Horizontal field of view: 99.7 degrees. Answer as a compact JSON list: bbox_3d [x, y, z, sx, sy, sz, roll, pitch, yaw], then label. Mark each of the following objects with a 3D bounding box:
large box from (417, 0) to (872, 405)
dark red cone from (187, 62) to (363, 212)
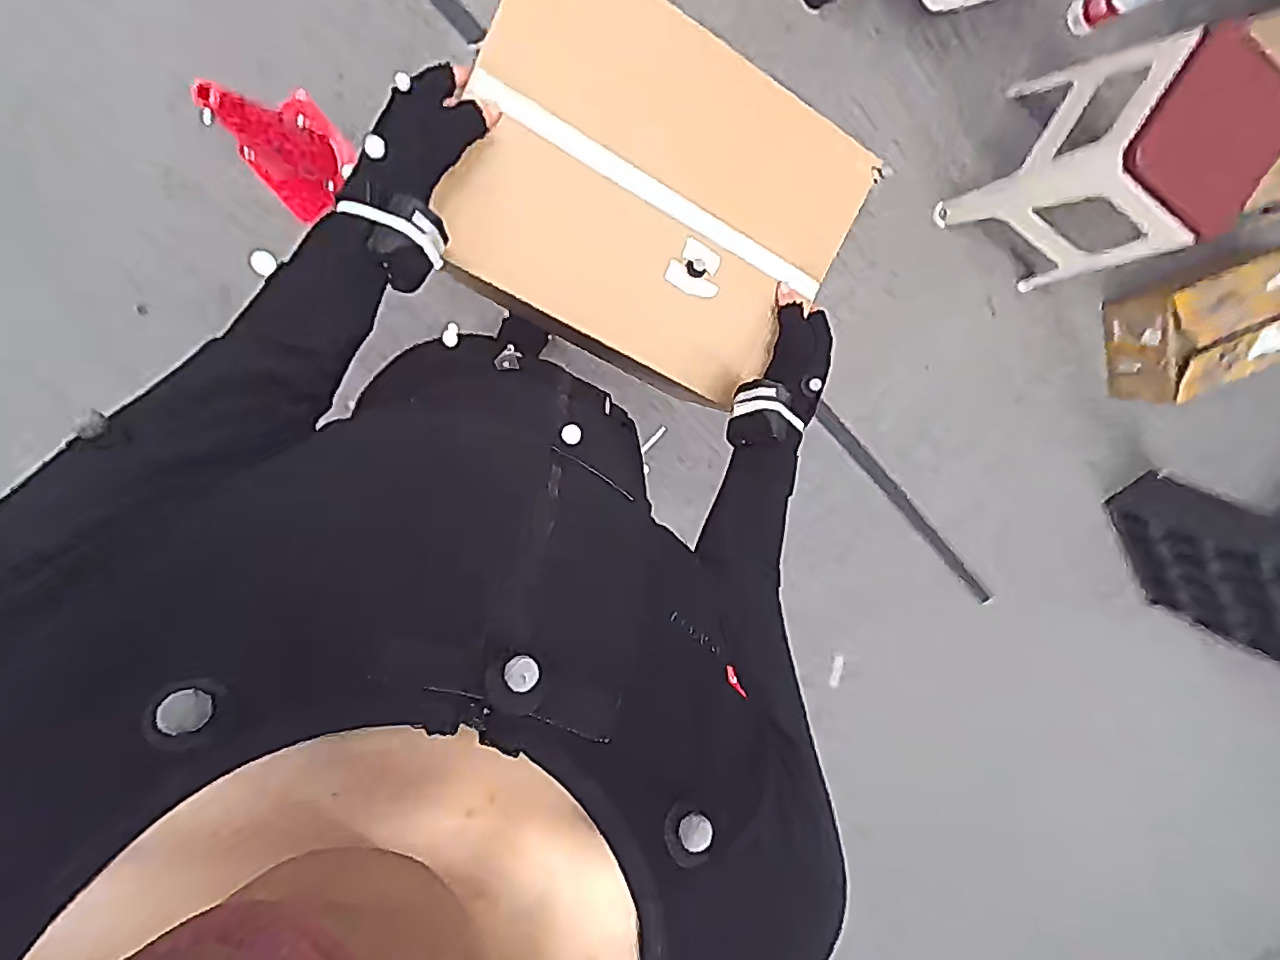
[{"bbox_3d":[-0.013,-0.329,0.700,0.408,0.320,0.320,24,98,-16],"label":"large box"},{"bbox_3d":[-0.706,-0.669,1.007,0.202,0.394,0.201,-39,109,3],"label":"dark red cone"}]
